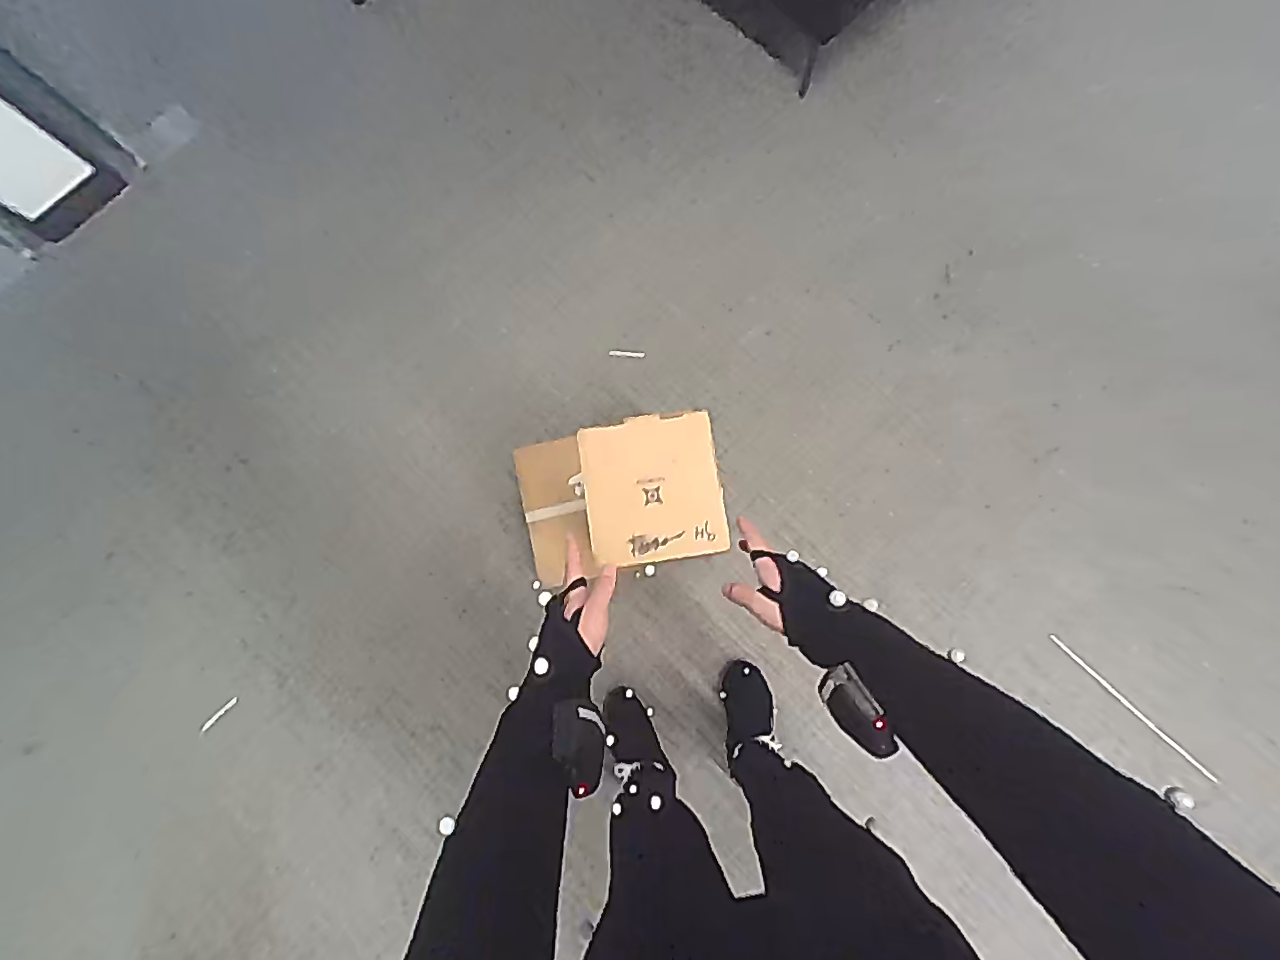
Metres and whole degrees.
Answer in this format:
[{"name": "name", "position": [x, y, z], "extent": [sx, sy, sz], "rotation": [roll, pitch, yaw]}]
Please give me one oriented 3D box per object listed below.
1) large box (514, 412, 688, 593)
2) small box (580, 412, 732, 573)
[{"name": "large box", "position": [-0.041, 0.068, 1.295], "extent": [0.408, 0.320, 0.320], "rotation": [-13, 79, 0]}, {"name": "small box", "position": [0.019, 0.026, 0.721], "extent": [0.168, 0.176, 0.179], "rotation": [-8, 80, 1]}]
